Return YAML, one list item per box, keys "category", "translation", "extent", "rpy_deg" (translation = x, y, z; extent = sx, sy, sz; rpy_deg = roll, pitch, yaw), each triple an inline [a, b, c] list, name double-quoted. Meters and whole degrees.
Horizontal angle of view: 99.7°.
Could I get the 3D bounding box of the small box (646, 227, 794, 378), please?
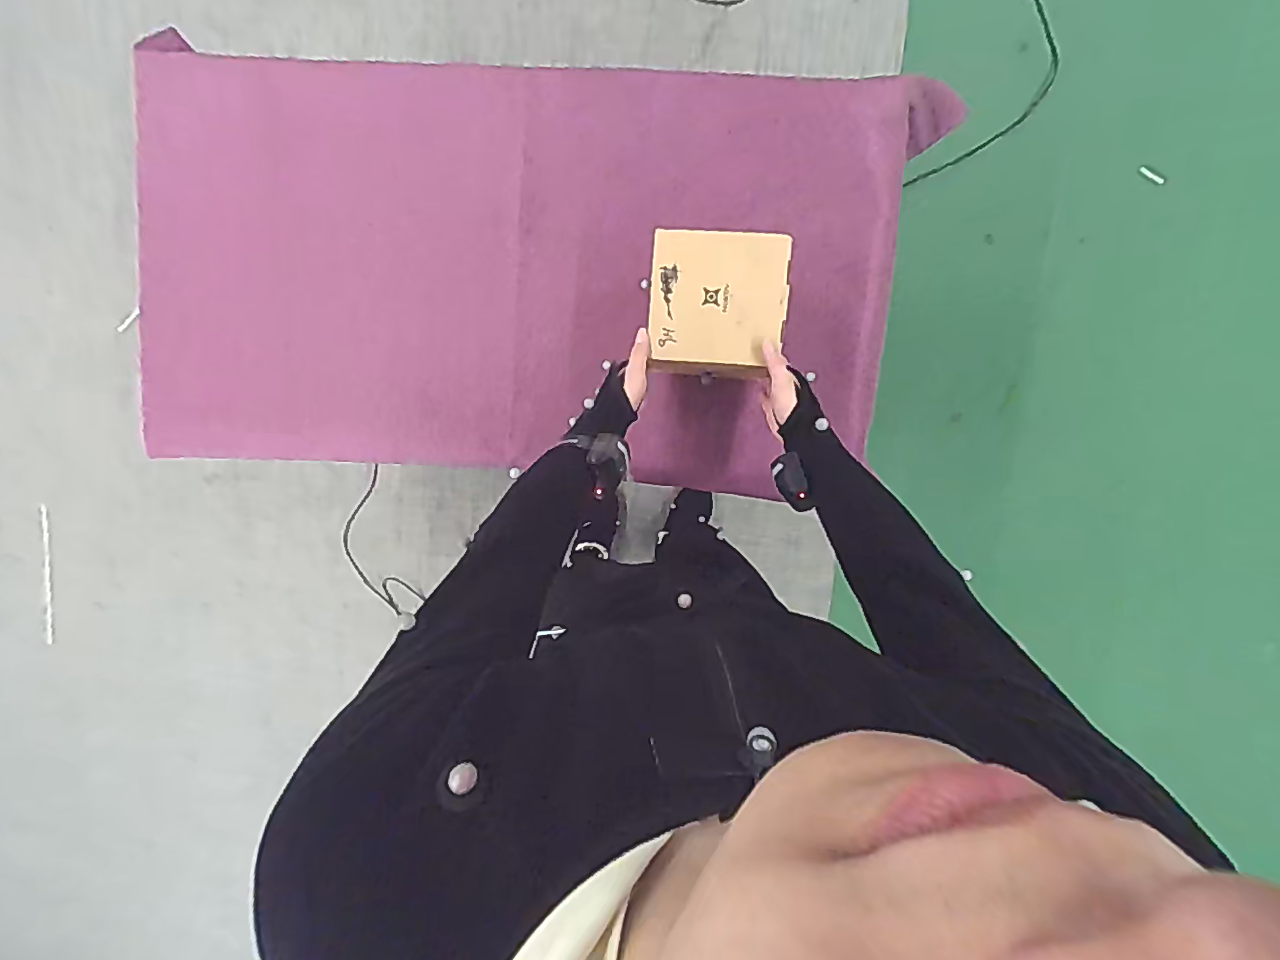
- category: "small box"
  translation: [0.104, -0.237, 0.763]
  extent: [0.179, 0.176, 0.168]
  rpy_deg: [5, 95, 3]
